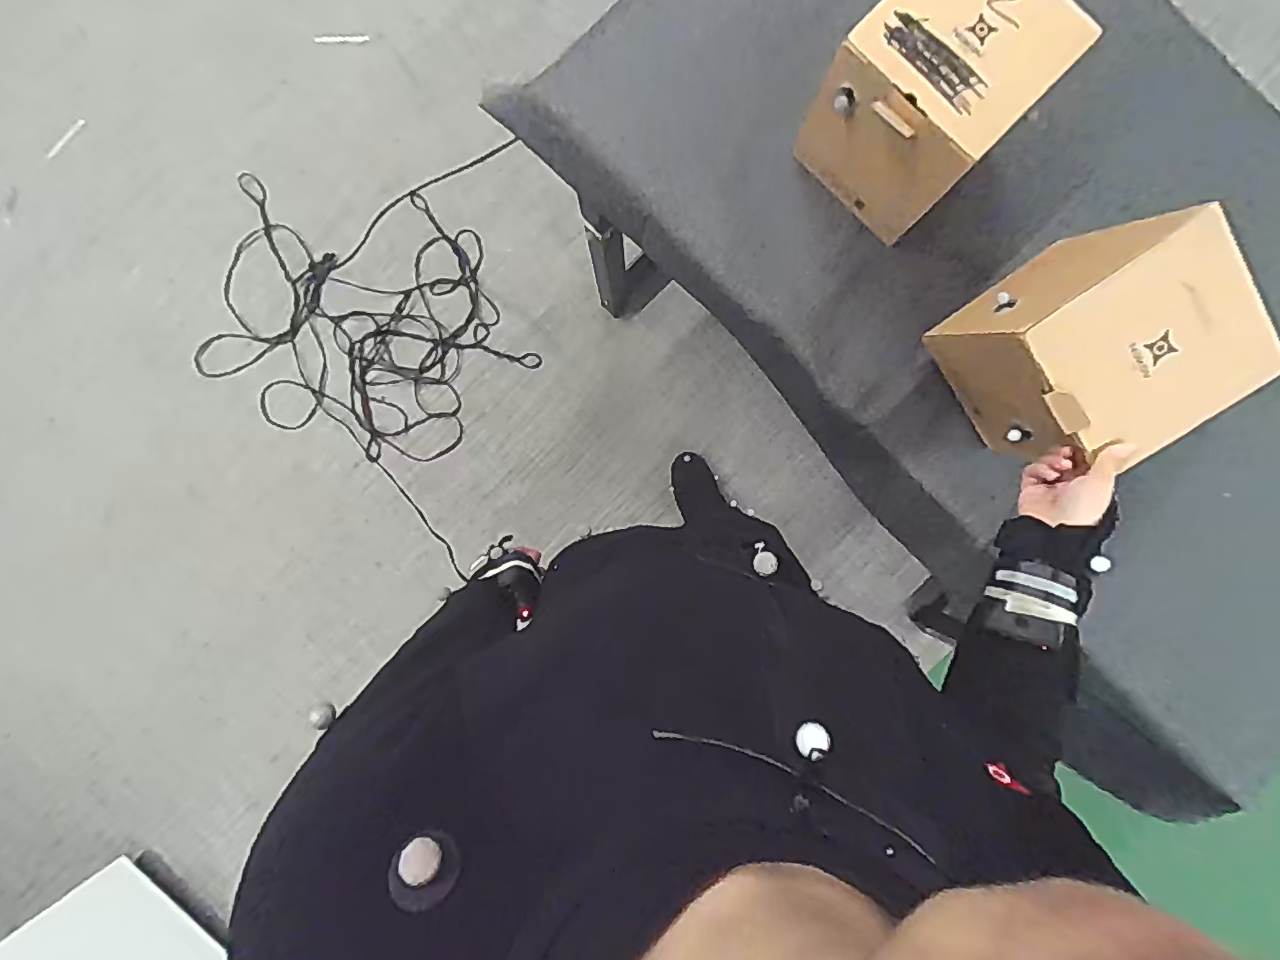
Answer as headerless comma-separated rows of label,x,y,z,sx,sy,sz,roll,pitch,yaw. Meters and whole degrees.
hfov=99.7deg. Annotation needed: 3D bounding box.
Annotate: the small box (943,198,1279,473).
small box,0.441,-0.133,0.537,0.179,0.176,0.168,-36,101,7
